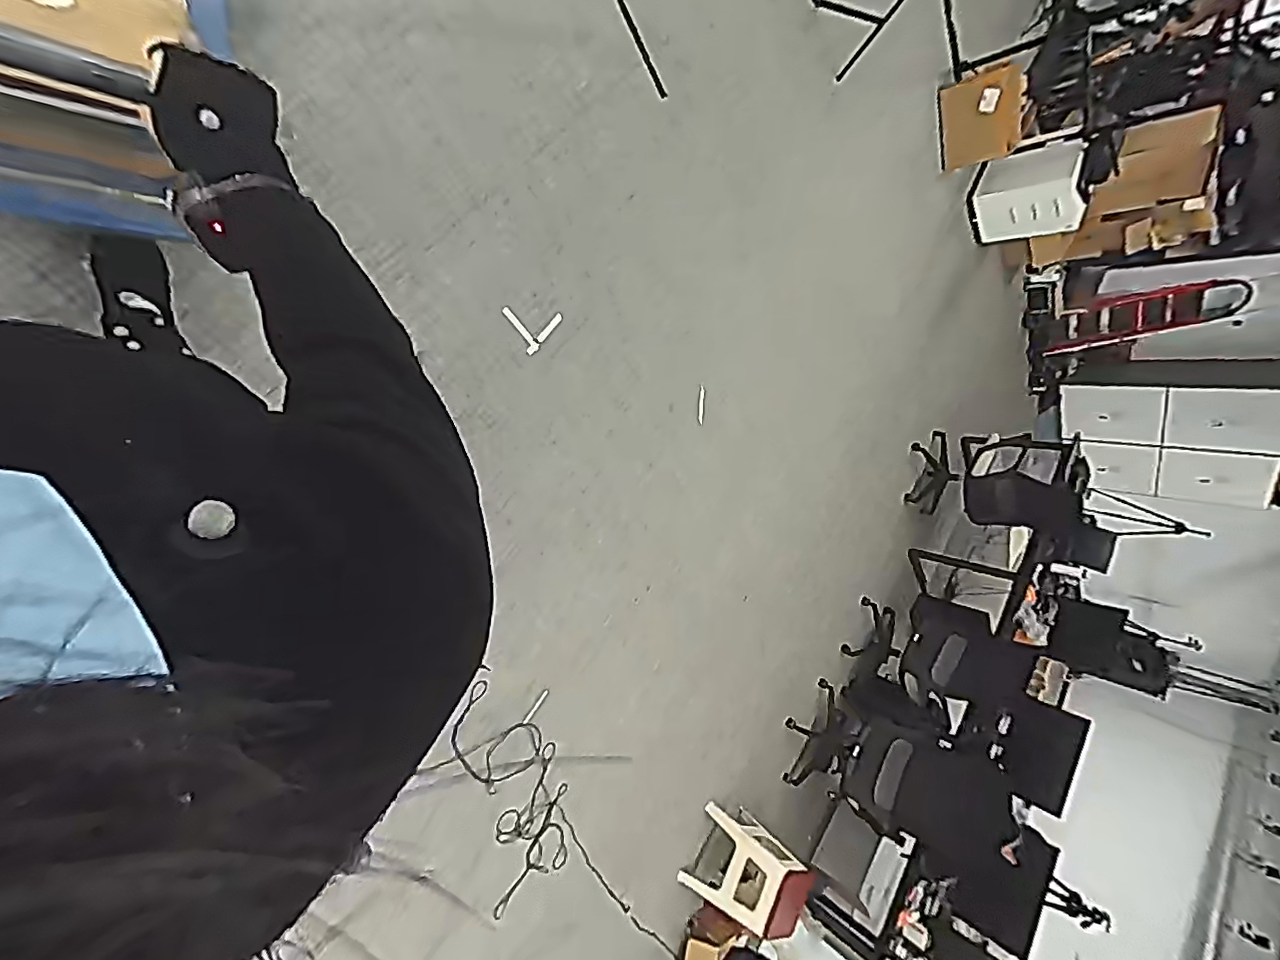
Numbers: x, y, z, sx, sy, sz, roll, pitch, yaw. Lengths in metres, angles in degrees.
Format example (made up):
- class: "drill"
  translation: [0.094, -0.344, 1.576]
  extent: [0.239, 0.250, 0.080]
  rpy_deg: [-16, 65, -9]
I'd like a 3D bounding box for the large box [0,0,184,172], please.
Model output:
- class: "large box"
  translation: [-0.869, -0.648, 0.687]
  extent: [0.408, 0.320, 0.320]
  rpy_deg: [-6, 104, -44]
